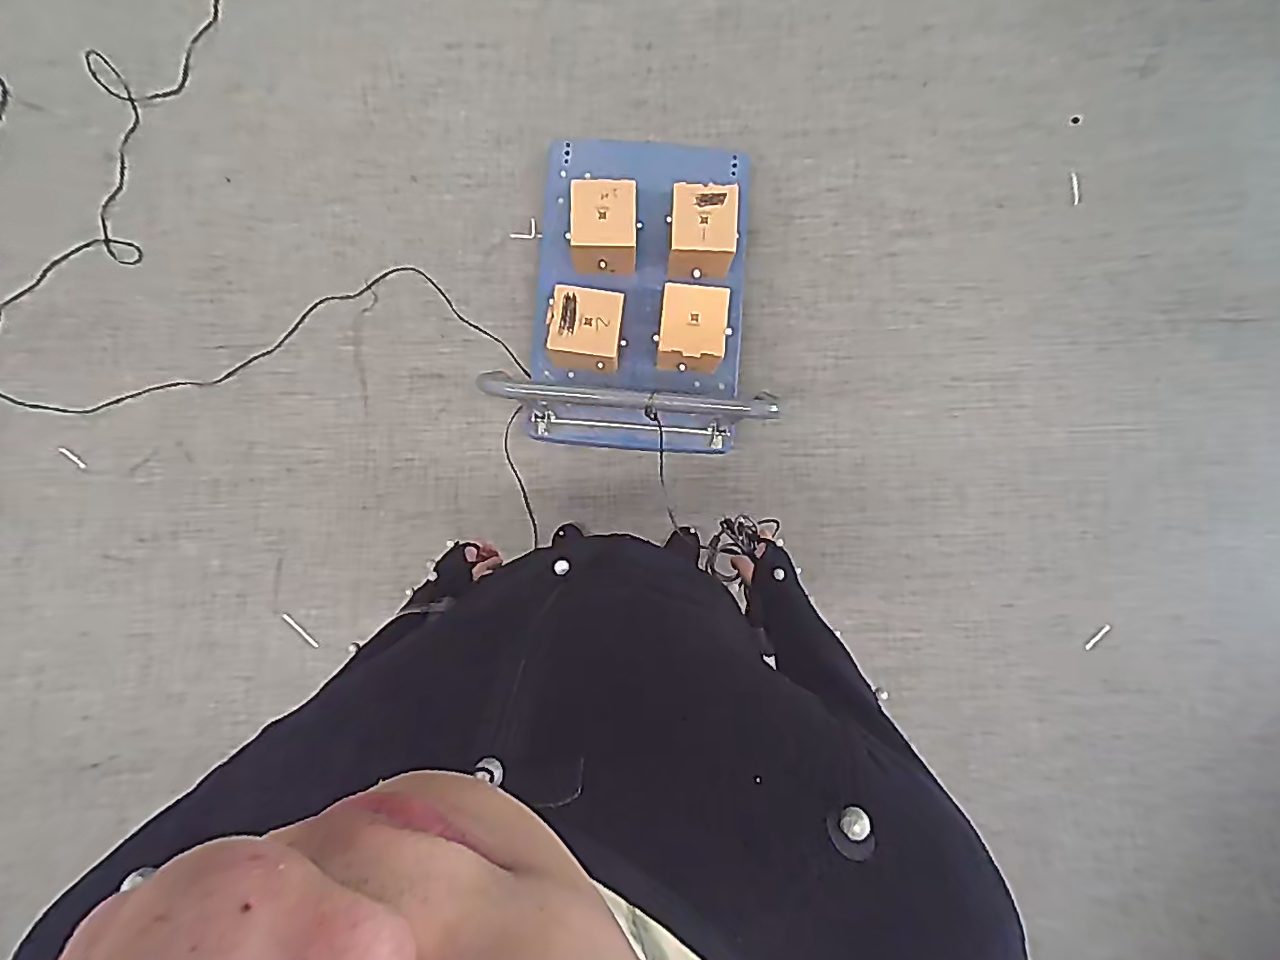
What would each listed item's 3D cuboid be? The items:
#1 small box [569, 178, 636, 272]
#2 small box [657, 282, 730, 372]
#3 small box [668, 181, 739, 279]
[{"bbox_3d":[-0.094,-0.667,1.433,0.168,0.176,0.179,1,87,-1],"label":"small box"},{"bbox_3d":[0.135,-0.397,1.422,0.168,0.176,0.179,5,88,0],"label":"small box"},{"bbox_3d":[0.163,-0.658,1.434,0.168,0.176,0.179,2,88,0],"label":"small box"}]
